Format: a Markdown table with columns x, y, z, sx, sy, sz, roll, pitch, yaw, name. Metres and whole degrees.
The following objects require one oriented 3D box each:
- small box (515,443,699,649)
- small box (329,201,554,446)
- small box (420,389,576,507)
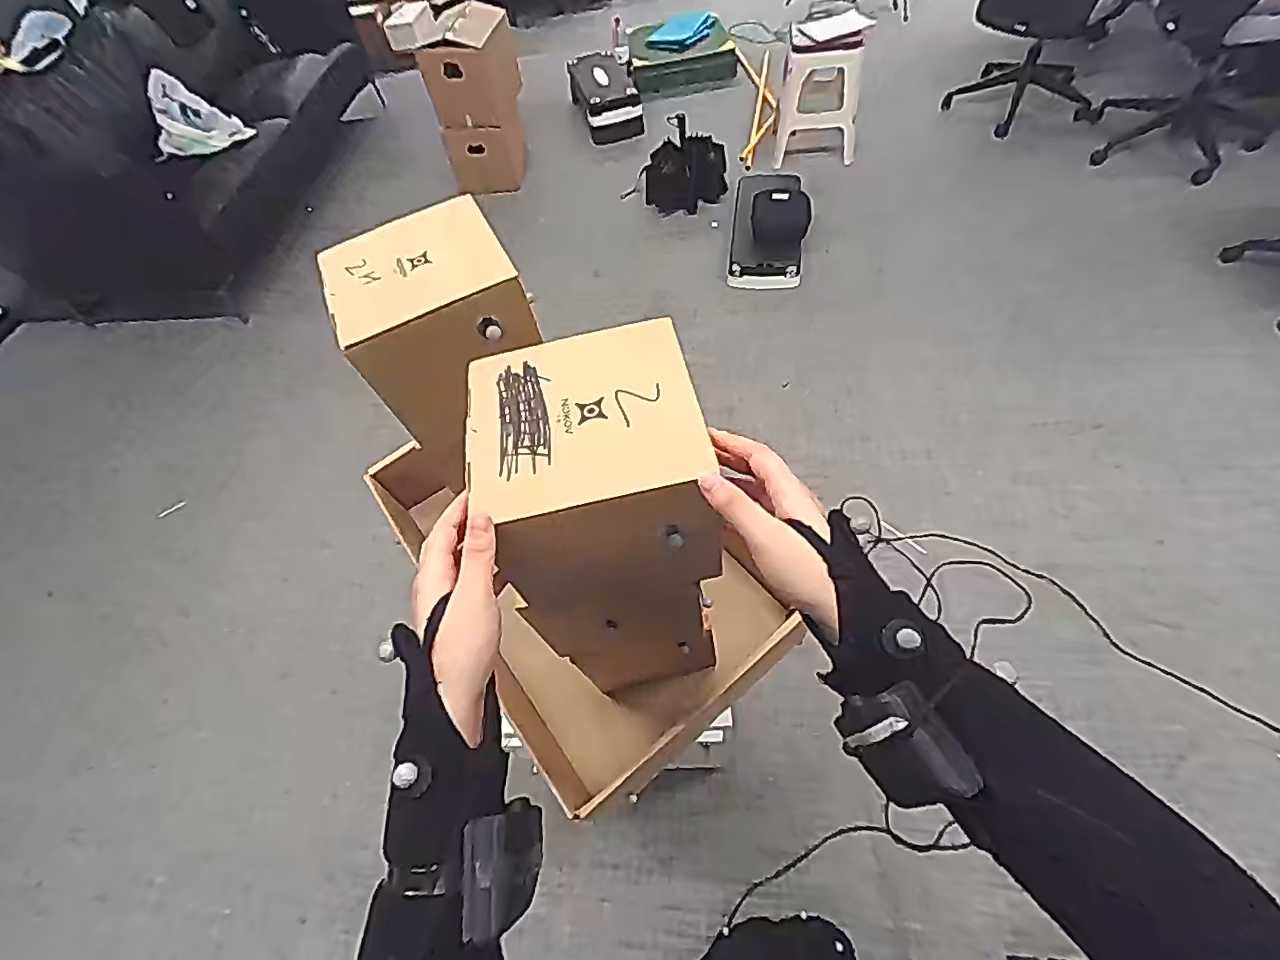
| x | y | z | sx | sy | sz | roll | pitch | yaw | name |
| --- | --- | --- | --- | --- | --- | --- | --- | --- | --- |
| -0.029 | 0.082 | 0.619 | 0.179 | 0.176 | 0.168 | -9 | 55 | 5 | small box |
| -0.212 | -0.171 | 0.615 | 0.179 | 0.176 | 0.168 | -26 | 58 | -7 | small box |
| -0.204 | -0.092 | 0.760 | 0.168 | 0.176 | 0.179 | -24 | 59 | -5 | small box |
